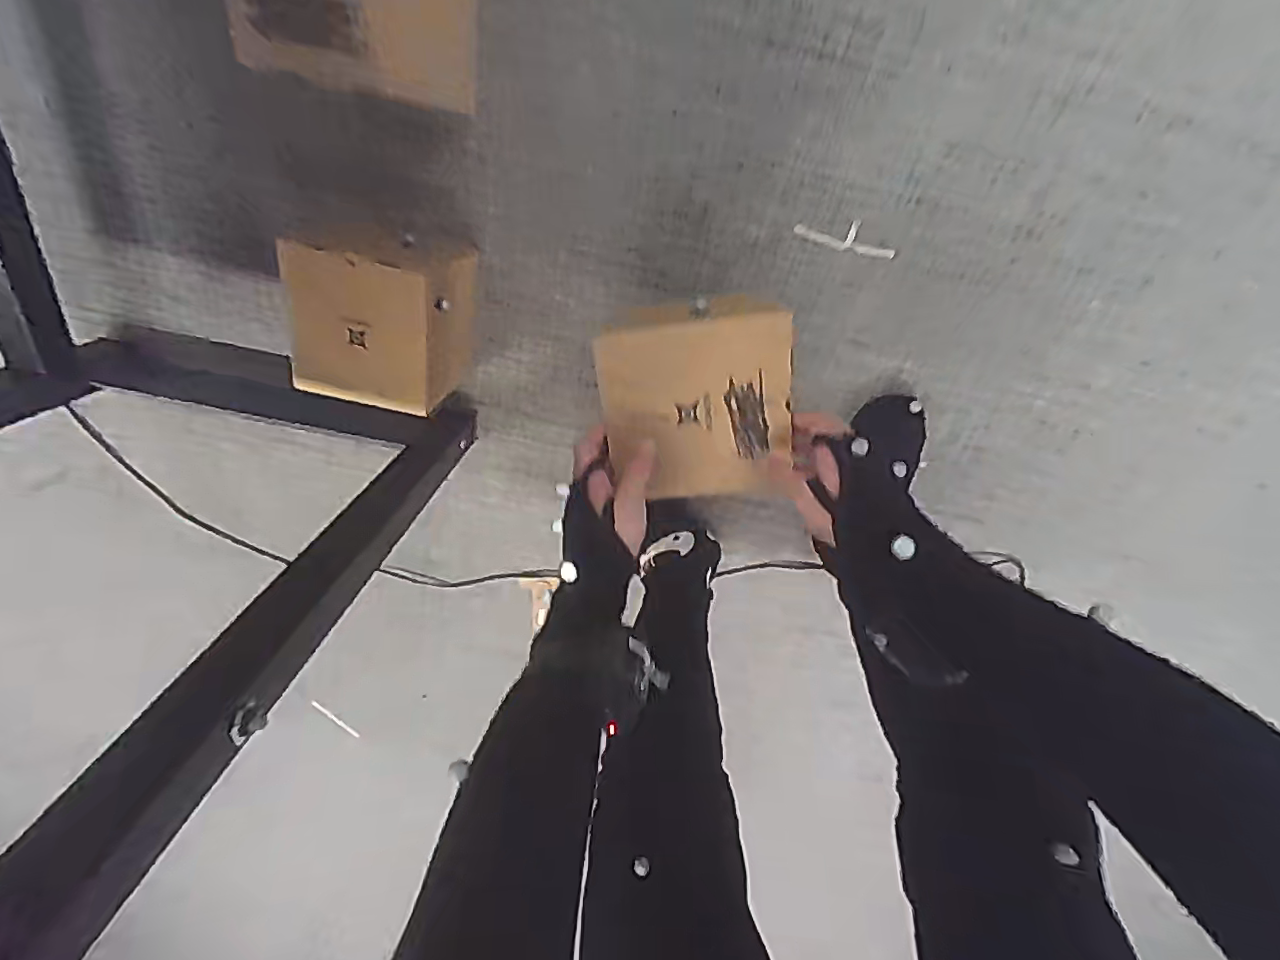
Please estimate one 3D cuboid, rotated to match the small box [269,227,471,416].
[{"bbox_3d":[-0.325,-0.207,0.687,0.168,0.176,0.179,12,120,-1],"label":"small box"}]
